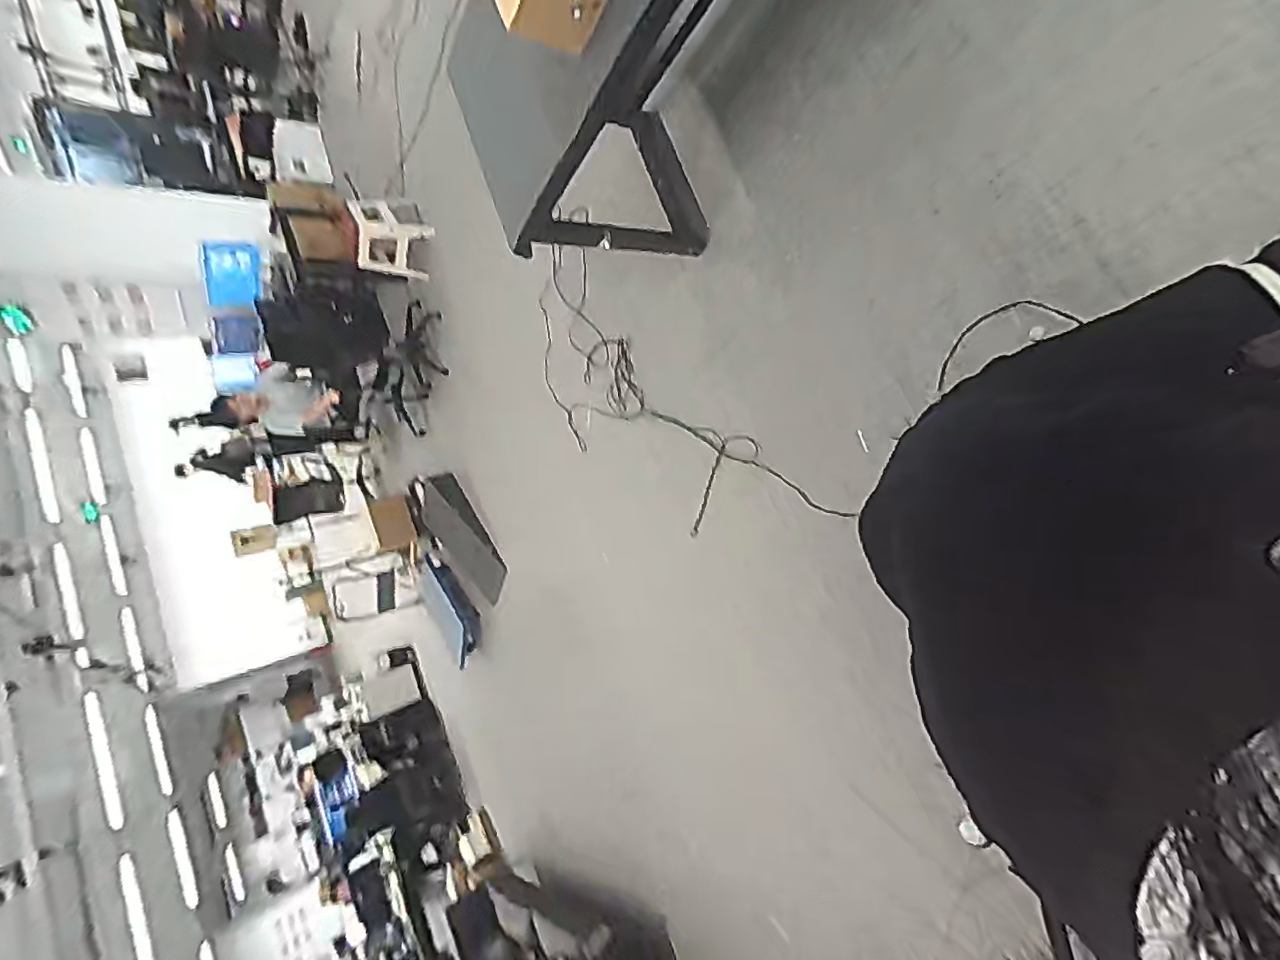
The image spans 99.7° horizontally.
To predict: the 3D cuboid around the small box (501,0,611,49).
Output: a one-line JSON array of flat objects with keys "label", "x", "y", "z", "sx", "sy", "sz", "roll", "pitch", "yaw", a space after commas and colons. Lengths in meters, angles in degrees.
[{"label": "small box", "x": -0.164, "y": -0.979, "z": 1.032, "sx": 0.168, "sy": 0.176, "sz": 0.179, "roll": -32, "pitch": 76, "yaw": 52}]
